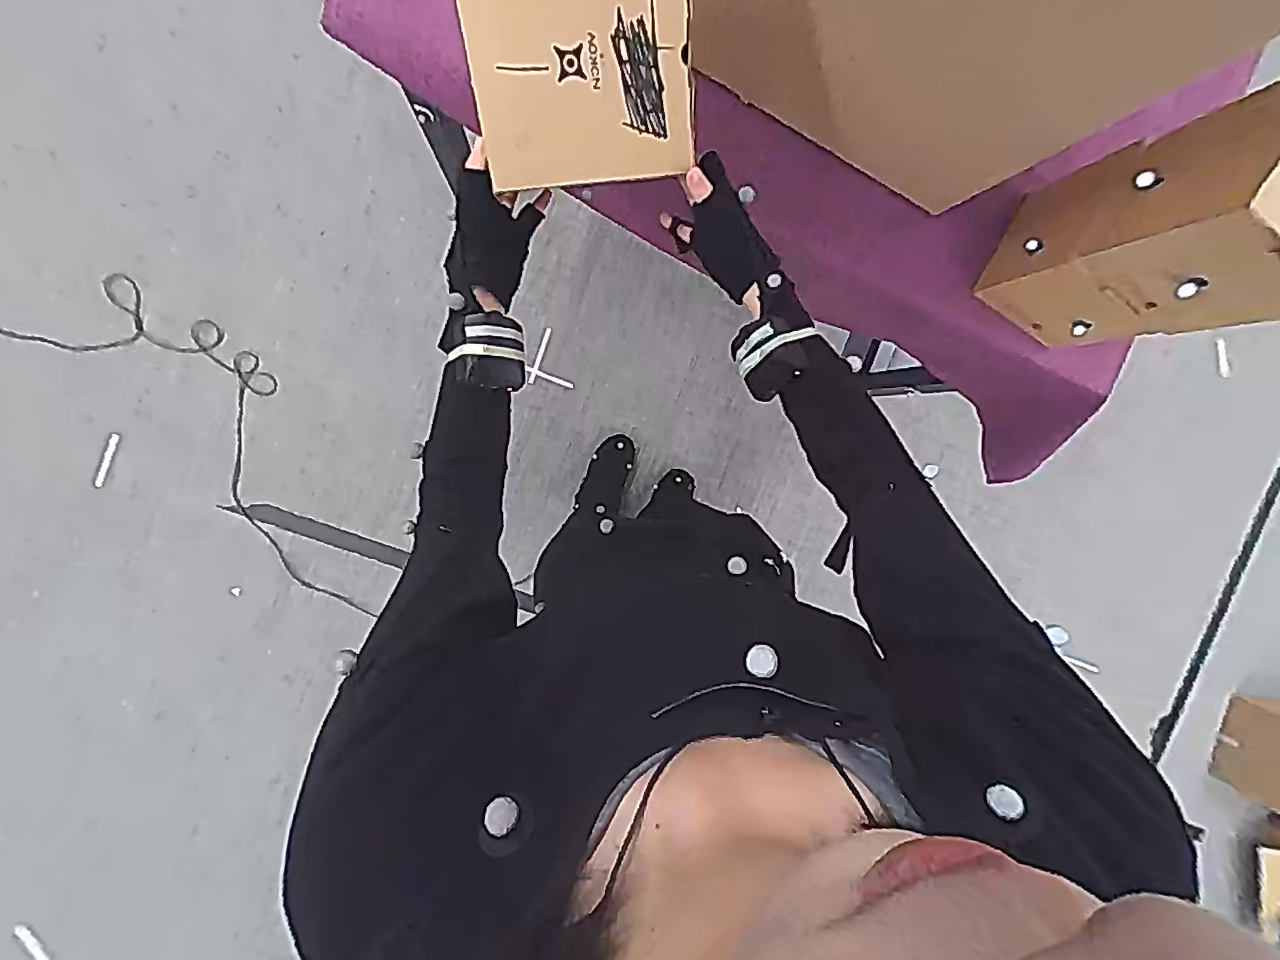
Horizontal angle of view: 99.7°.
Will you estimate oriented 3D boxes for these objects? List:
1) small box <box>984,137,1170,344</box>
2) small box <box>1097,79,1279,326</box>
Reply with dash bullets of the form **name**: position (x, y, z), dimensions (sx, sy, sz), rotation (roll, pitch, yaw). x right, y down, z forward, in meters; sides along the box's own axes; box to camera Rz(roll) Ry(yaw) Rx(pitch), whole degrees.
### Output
- **small box**: position (0.621, -0.307, 0.742), dimensions (0.168, 0.176, 0.179), rotation (29, 90, -11)
- **small box**: position (0.654, -0.289, 0.582), dimensions (0.168, 0.176, 0.179), rotation (33, 91, -11)
